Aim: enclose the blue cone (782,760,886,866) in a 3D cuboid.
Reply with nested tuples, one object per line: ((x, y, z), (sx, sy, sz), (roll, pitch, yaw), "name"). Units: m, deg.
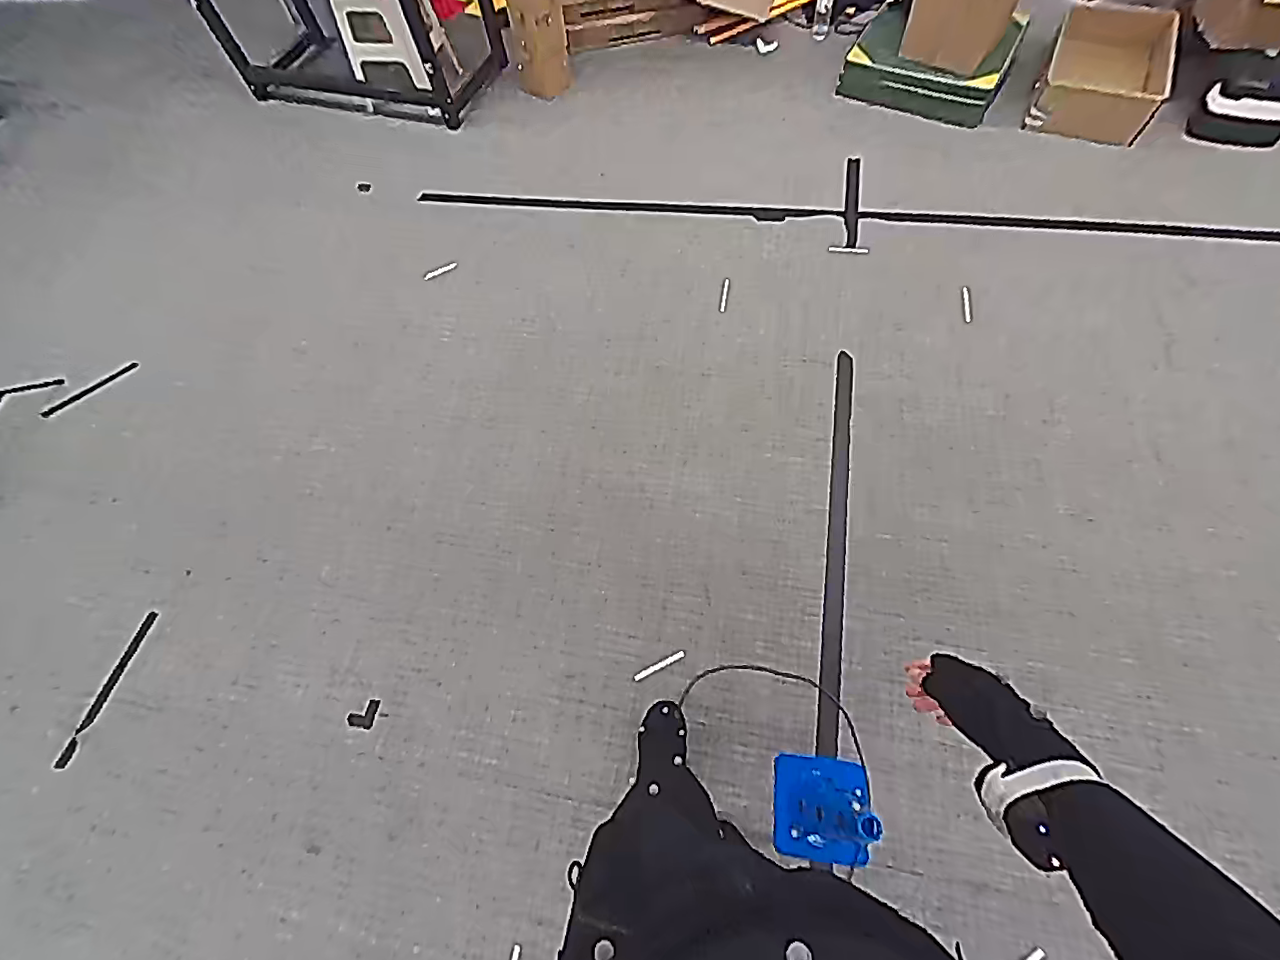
((0.394, 0.645, 1.021), (0.192, 0.380, 0.193), (3, 64, 6), "blue cone")
